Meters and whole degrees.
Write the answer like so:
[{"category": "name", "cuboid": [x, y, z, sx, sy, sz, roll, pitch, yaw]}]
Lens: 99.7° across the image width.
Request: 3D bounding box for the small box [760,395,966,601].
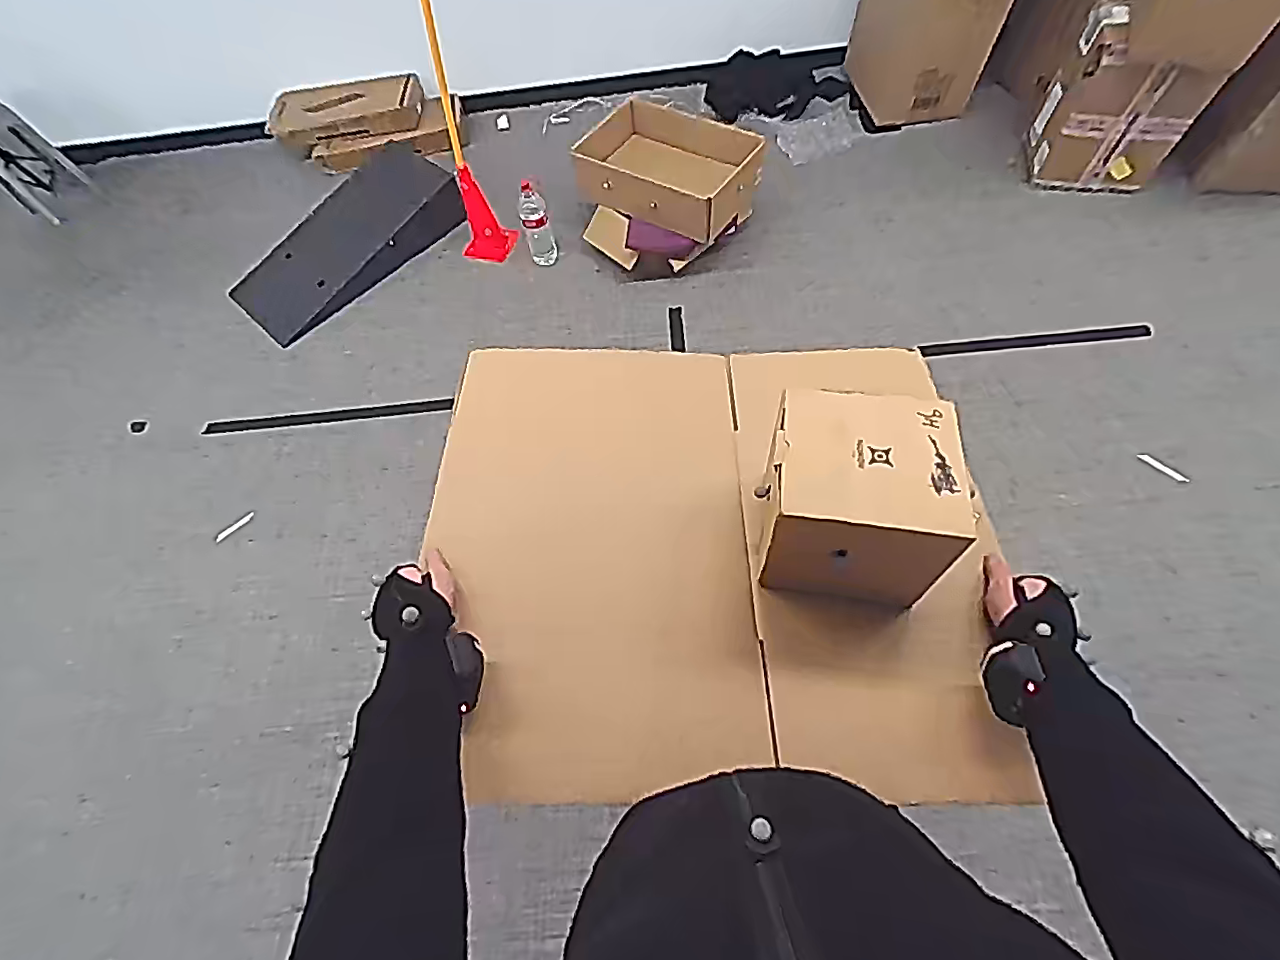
[{"category": "small box", "cuboid": [0.233, 0.024, 0.611, 0.179, 0.176, 0.168, 6, 57, 10]}]
